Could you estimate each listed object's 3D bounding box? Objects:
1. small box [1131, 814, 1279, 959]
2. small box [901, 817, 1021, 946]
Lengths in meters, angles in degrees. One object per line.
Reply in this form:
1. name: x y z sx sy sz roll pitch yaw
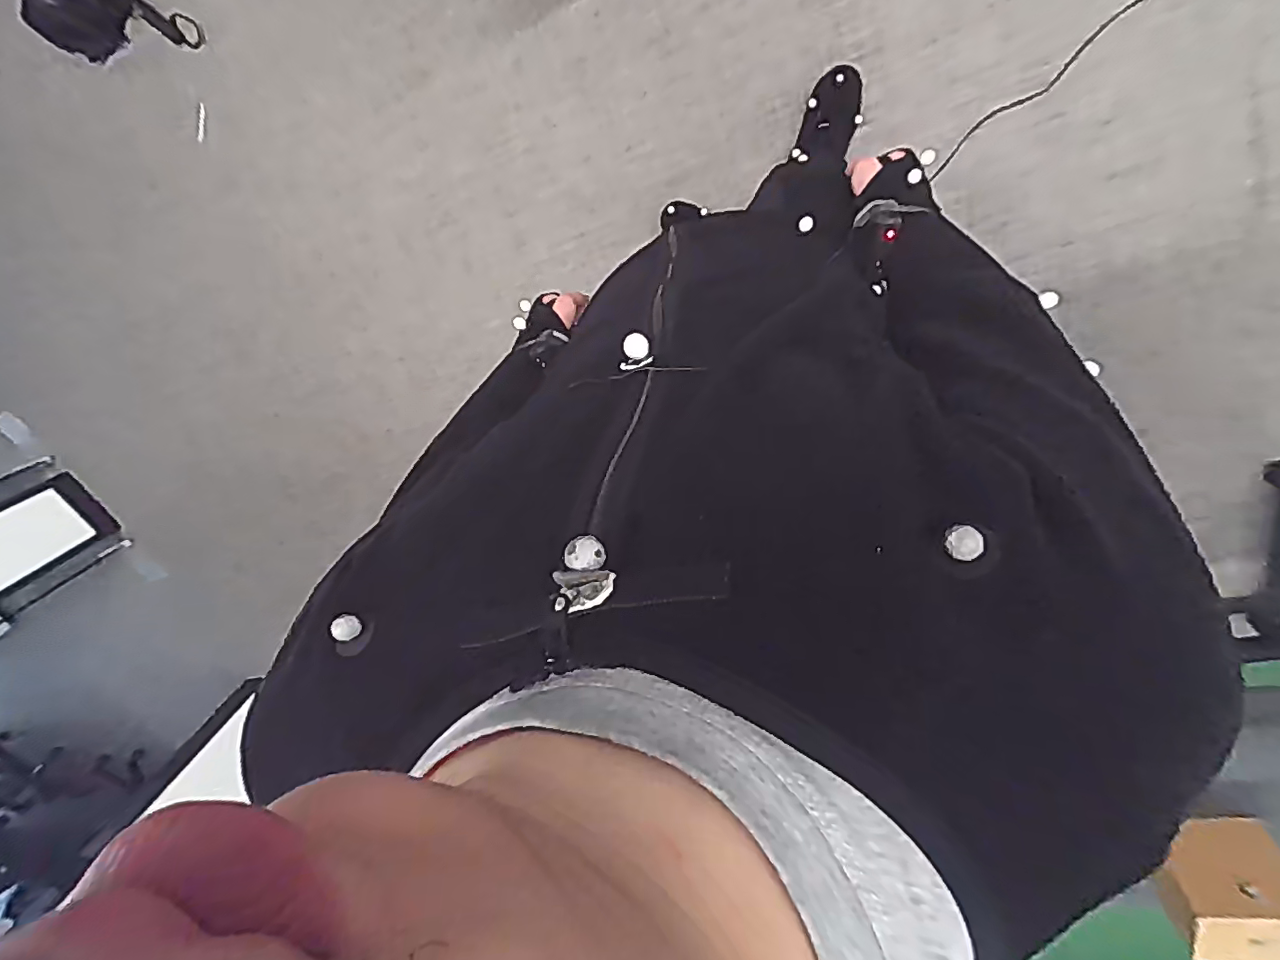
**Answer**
1. small box: 1.074 0.753 1.010 0.179 0.176 0.168 -14 116 21
2. small box: 0.669 0.843 1.145 0.179 0.176 0.168 -9 118 16
